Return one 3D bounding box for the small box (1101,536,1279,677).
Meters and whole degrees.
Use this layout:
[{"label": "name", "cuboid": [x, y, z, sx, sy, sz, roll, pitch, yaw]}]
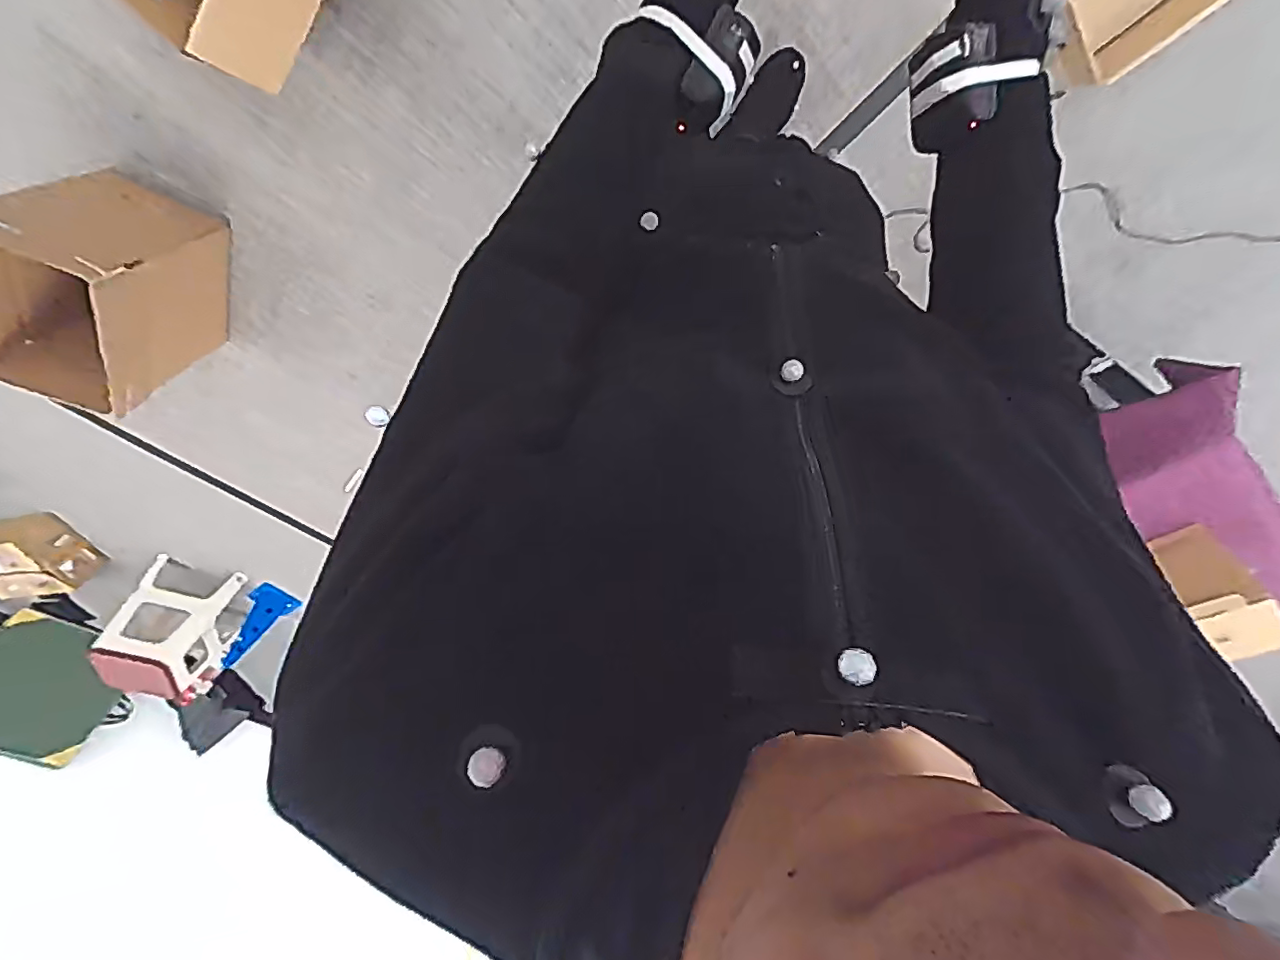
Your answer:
[{"label": "small box", "cuboid": [1.005, 0.226, 0.995, 0.168, 0.176, 0.179, -34, 119, 29]}]
